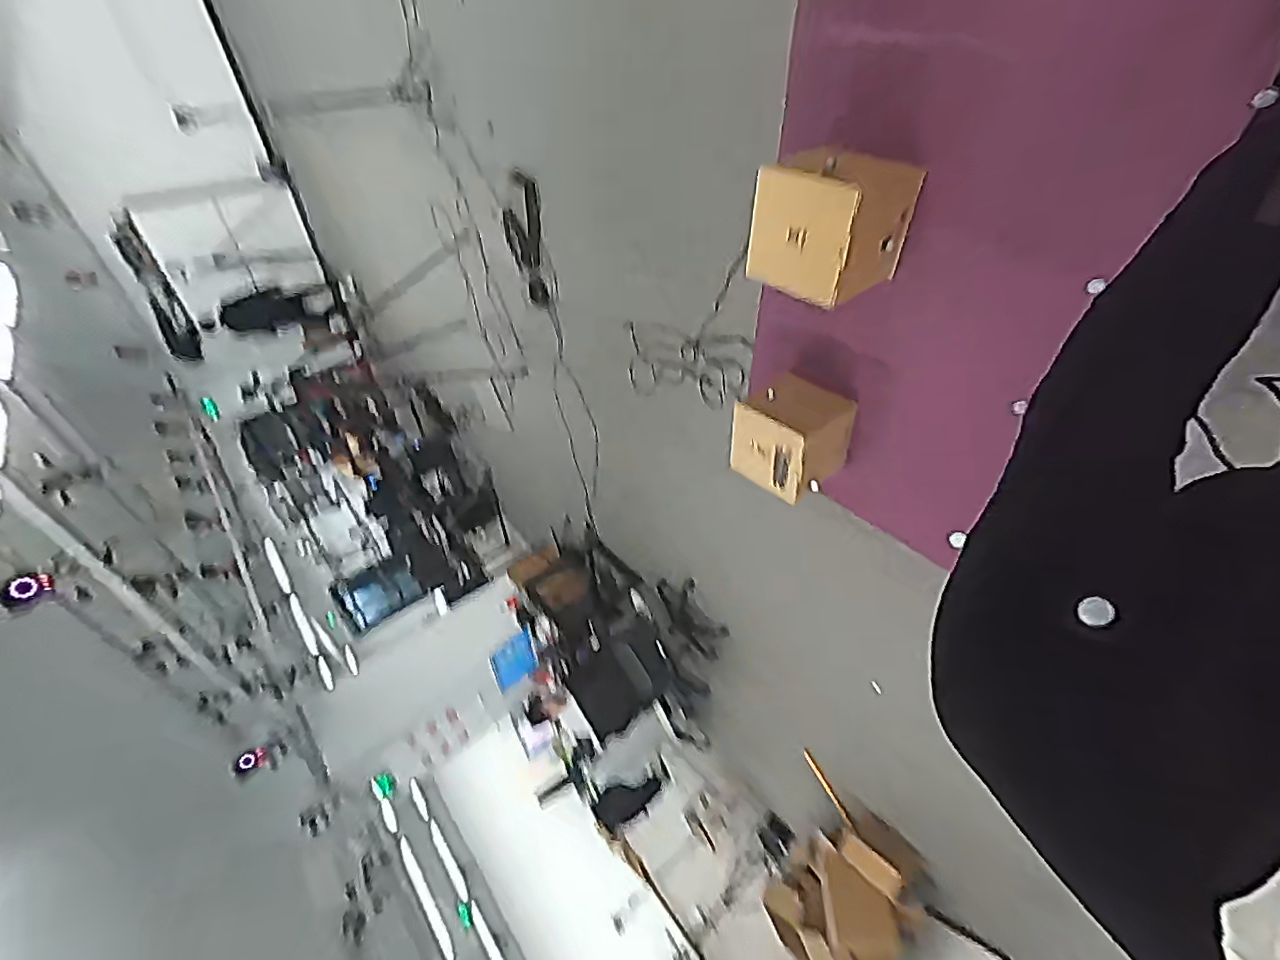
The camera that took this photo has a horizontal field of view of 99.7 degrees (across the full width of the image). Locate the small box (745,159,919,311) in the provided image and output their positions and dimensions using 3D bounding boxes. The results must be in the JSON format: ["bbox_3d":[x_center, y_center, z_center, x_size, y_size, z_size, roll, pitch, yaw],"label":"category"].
[{"bbox_3d":[0.295,-0.392,0.852,0.179,0.176,0.168,37,144,34],"label":"small box"}]
